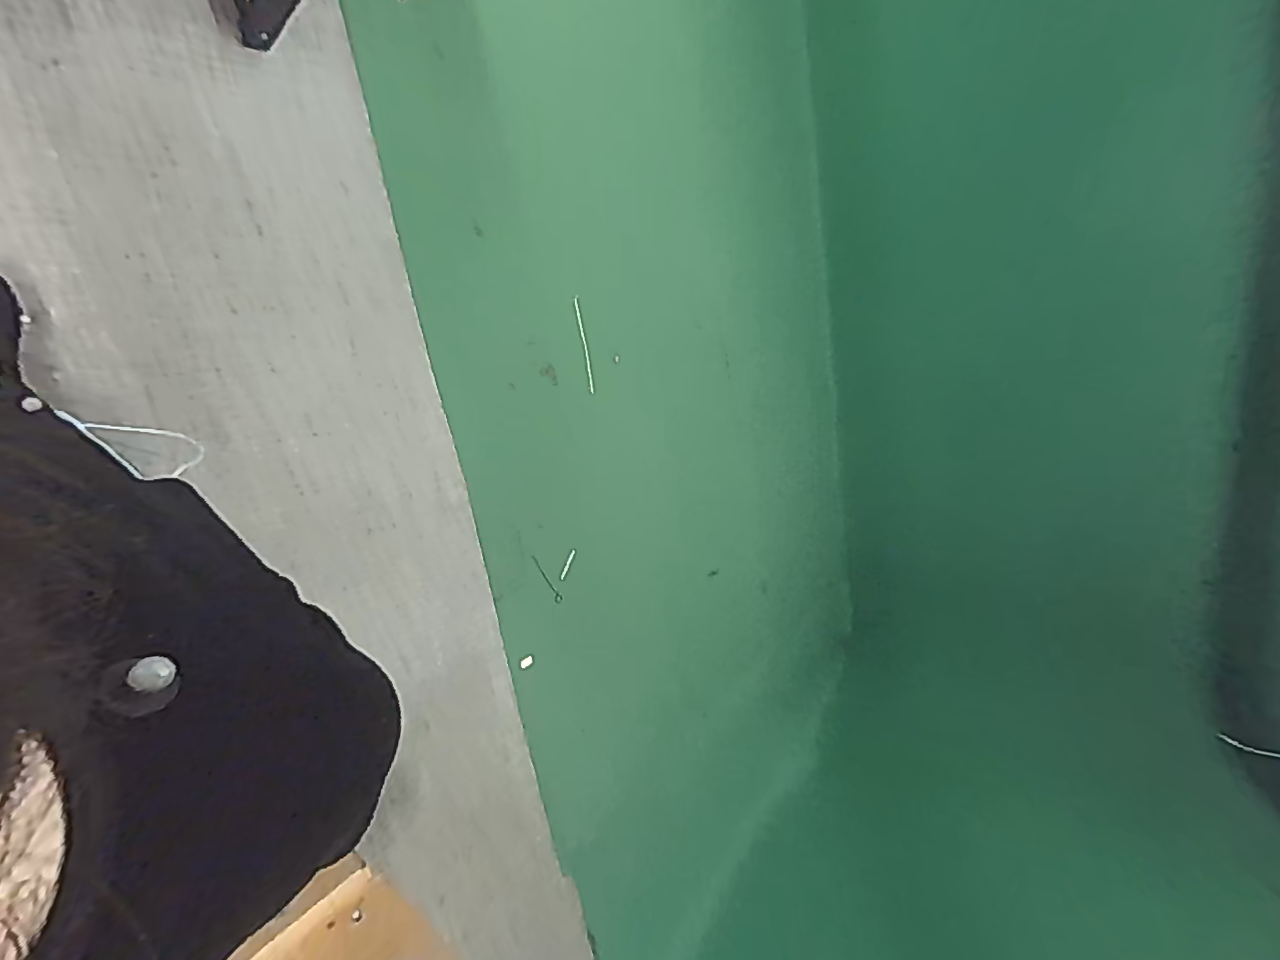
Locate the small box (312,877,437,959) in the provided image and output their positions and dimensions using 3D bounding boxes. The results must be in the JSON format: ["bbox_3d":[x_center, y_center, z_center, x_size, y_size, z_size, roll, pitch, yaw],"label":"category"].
[{"bbox_3d":[-0.470,0.892,0.994,0.168,0.176,0.179,-24,107,-45],"label":"small box"}]
